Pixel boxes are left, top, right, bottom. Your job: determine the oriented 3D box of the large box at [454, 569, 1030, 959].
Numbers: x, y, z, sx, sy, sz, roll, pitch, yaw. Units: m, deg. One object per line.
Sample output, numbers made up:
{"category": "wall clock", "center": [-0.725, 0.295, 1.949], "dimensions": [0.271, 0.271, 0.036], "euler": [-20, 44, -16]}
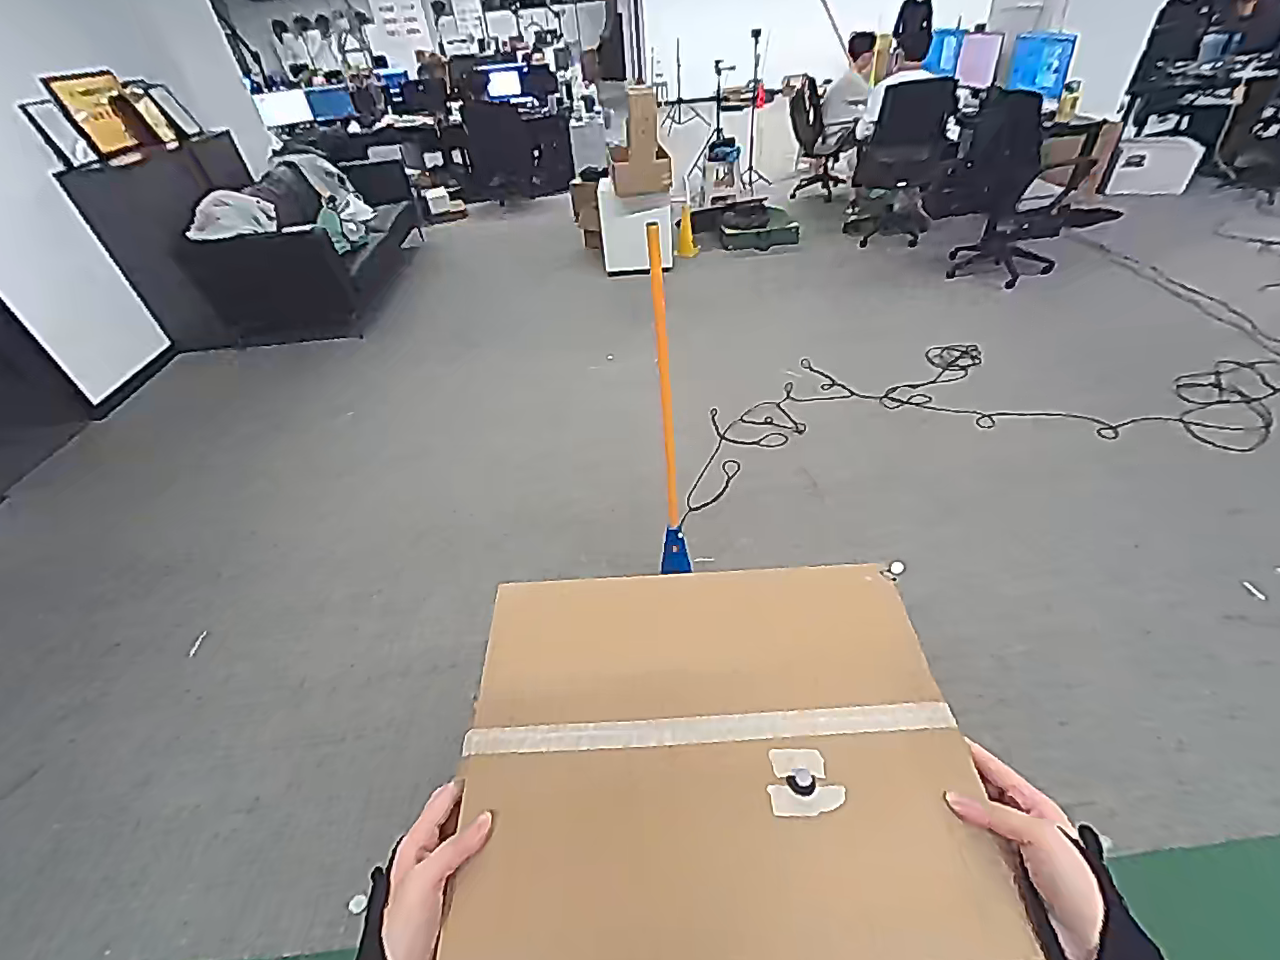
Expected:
{"category": "large box", "center": [0.066, 0.319, 0.572], "dimensions": [0.408, 0.320, 0.320], "euler": [-3, 46, 0]}
